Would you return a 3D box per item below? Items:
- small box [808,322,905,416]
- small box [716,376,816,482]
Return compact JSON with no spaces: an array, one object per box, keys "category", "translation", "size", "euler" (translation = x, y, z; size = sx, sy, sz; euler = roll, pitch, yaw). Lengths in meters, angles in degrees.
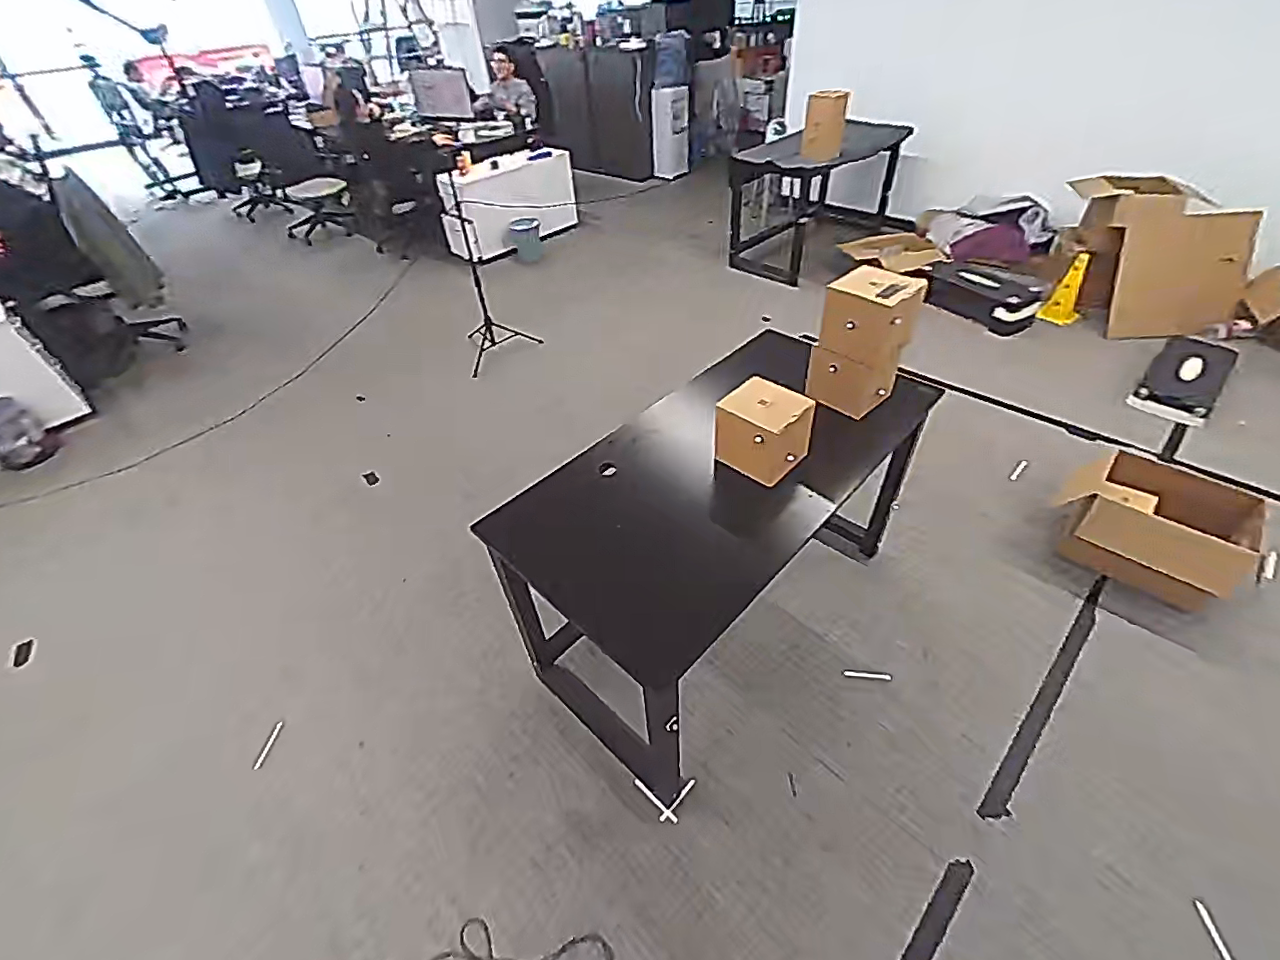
[{"category":"small box","translation":[0.585,-0.303,1.483],"size":[0.168,0.176,0.179],"euler":[-34,50,-25]},{"category":"small box","translation":[0.301,-0.123,1.324],"size":[0.179,0.176,0.168],"euler":[32,54,32]}]
